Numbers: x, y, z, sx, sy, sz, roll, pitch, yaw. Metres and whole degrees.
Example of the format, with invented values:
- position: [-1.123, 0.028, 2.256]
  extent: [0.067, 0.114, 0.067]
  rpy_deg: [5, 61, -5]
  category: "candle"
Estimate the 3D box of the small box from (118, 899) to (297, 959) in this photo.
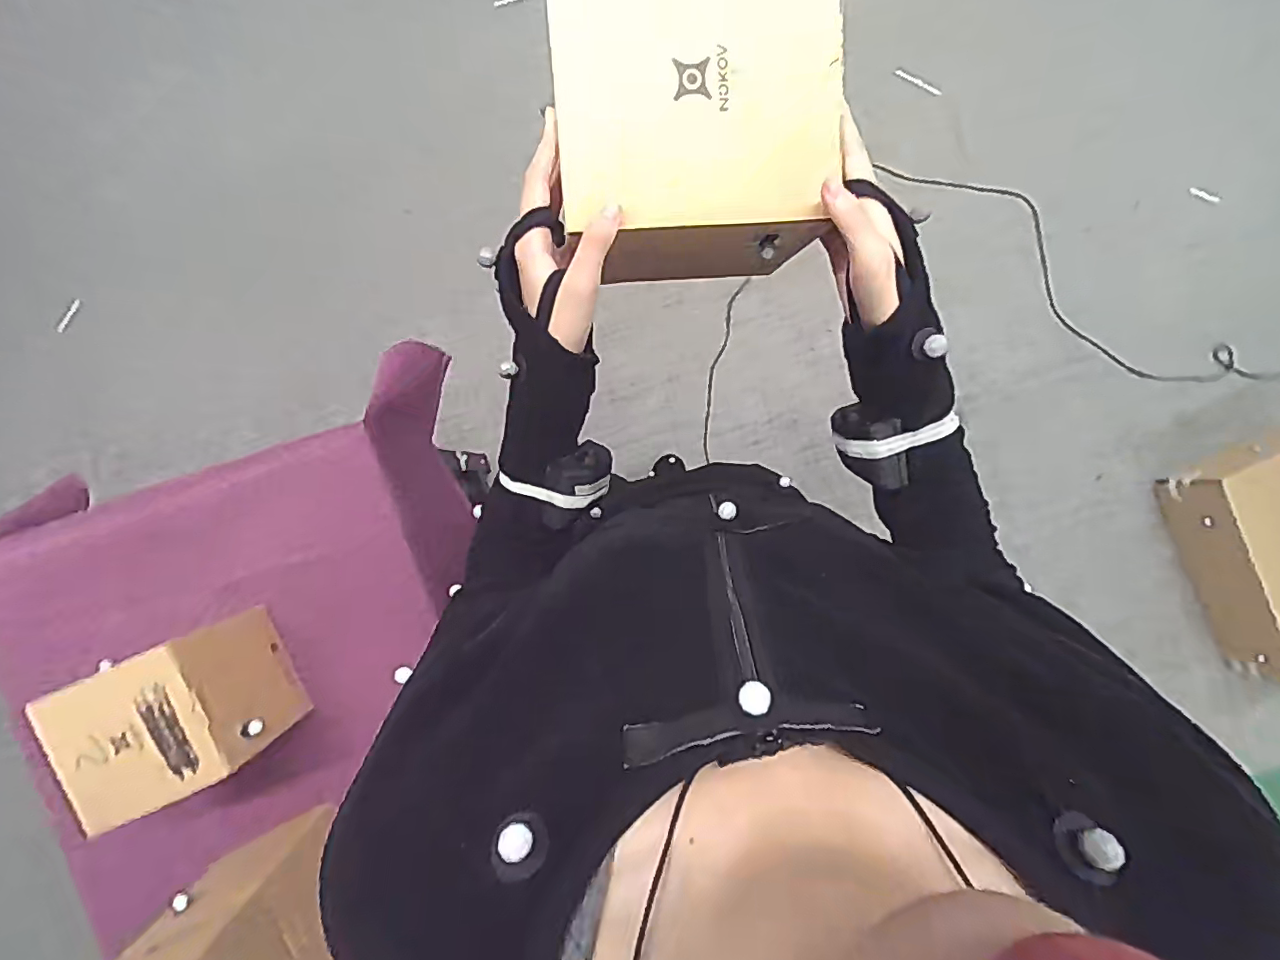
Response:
- position: [-0.471, 0.573, 0.542]
  extent: [0.168, 0.176, 0.179]
  rpy_deg: [-25, 93, 0]
  category: "small box"

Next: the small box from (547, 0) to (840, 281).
- position: [0.032, -0.252, 0.405]
  extent: [0.179, 0.176, 0.168]
  rpy_deg: [-3, 100, -2]
  category: "small box"

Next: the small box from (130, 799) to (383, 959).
- position: [-0.479, 0.568, 0.705]
  extent: [0.179, 0.176, 0.168]
  rpy_deg: [-27, 92, -1]
  category: "small box"
